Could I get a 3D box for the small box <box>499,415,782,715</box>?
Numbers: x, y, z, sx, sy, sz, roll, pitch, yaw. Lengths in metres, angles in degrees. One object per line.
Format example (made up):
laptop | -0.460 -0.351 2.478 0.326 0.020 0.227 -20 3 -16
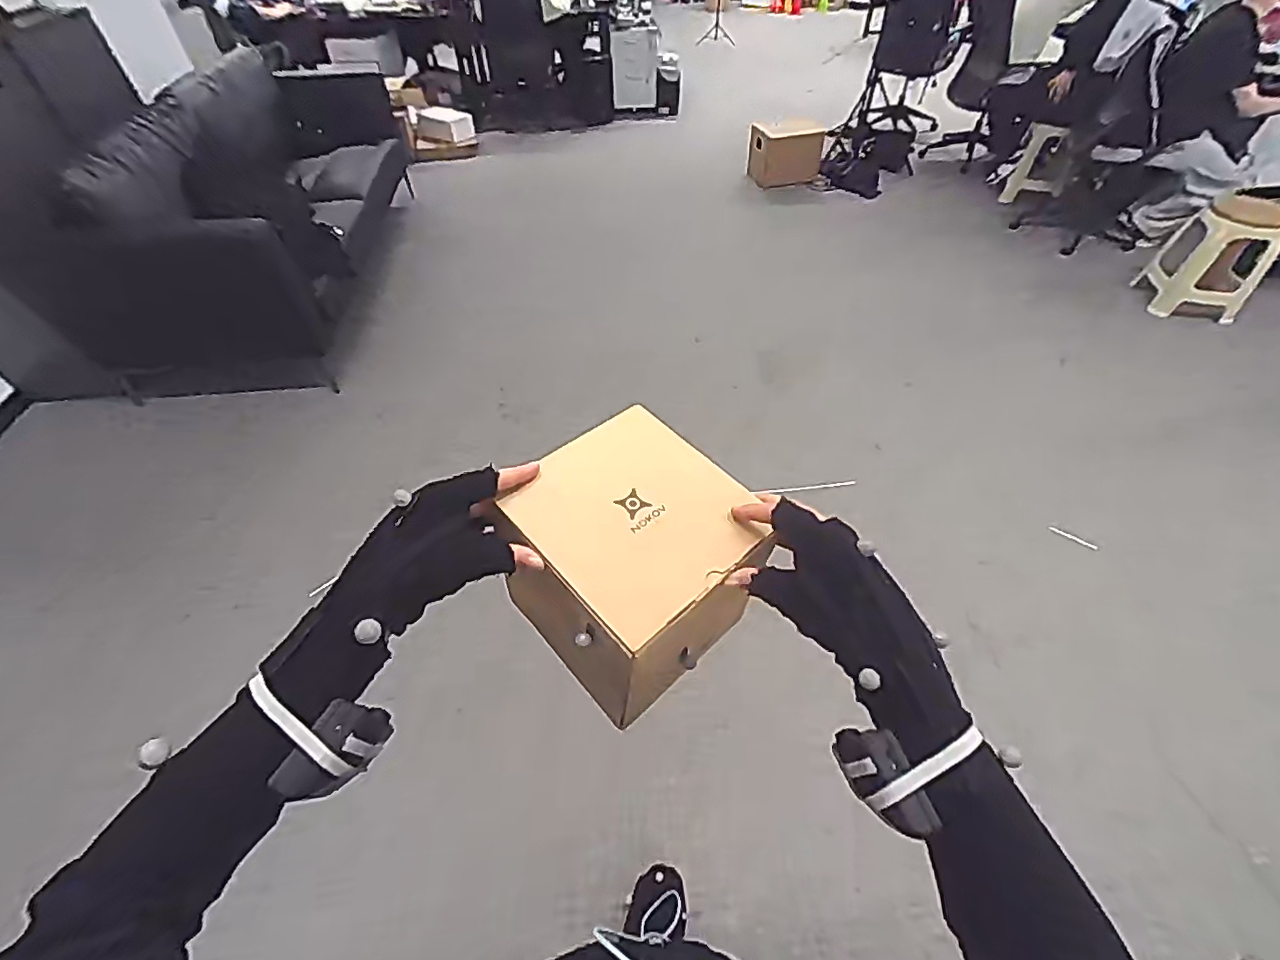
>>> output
small box | -0.008 0.078 0.496 0.168 0.176 0.179 -33 61 -29
